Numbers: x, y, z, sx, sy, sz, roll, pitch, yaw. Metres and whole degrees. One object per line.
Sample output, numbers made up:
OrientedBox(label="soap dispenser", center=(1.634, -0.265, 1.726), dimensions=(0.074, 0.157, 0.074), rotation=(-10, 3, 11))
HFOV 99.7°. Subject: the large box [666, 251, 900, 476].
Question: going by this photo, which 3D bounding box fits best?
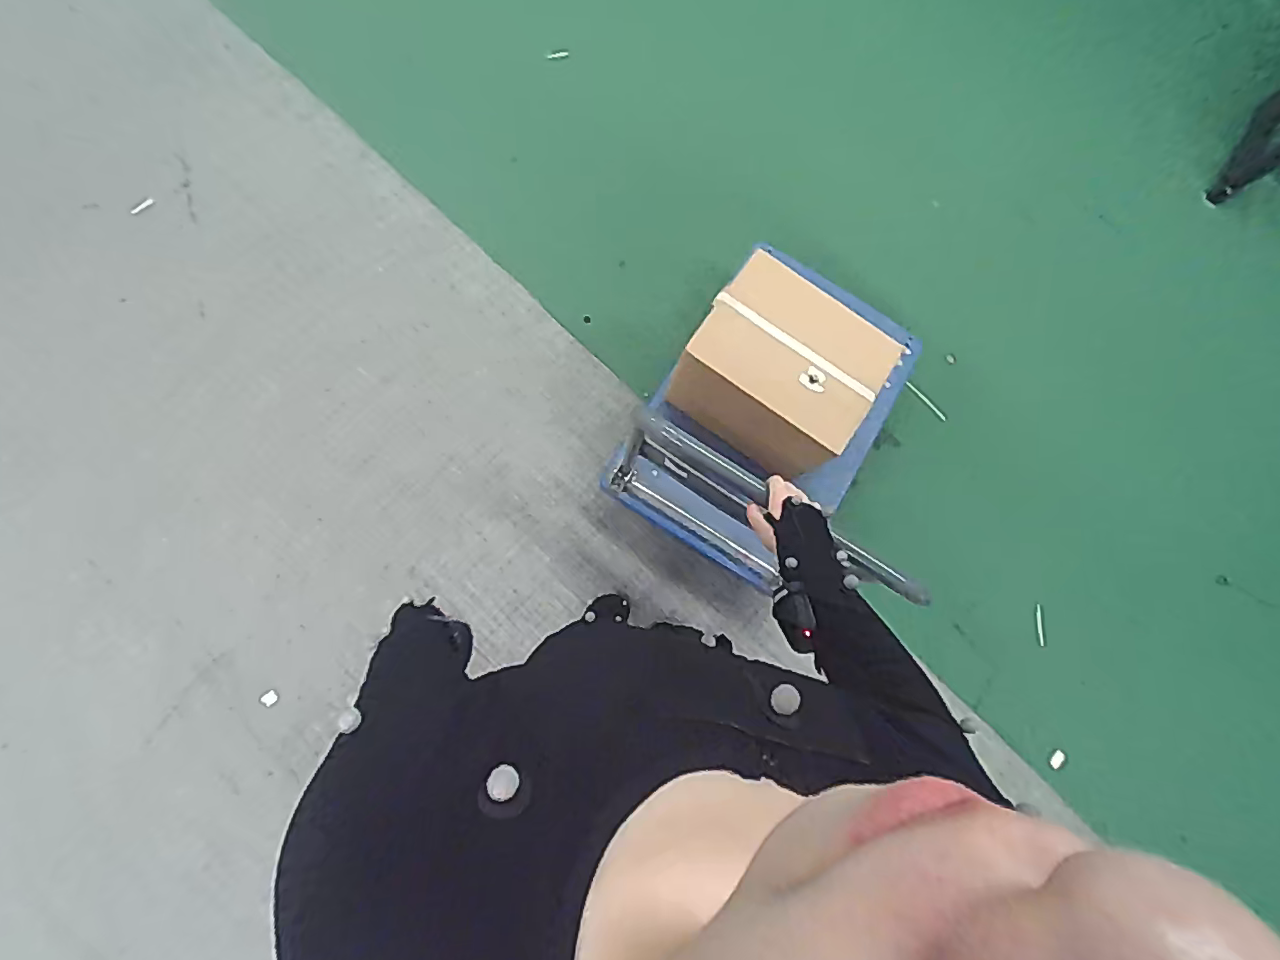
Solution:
OrientedBox(label="large box", center=(0.329, -0.268, 1.340), dimensions=(0.408, 0.320, 0.320), rotation=(35, 77, 1))
